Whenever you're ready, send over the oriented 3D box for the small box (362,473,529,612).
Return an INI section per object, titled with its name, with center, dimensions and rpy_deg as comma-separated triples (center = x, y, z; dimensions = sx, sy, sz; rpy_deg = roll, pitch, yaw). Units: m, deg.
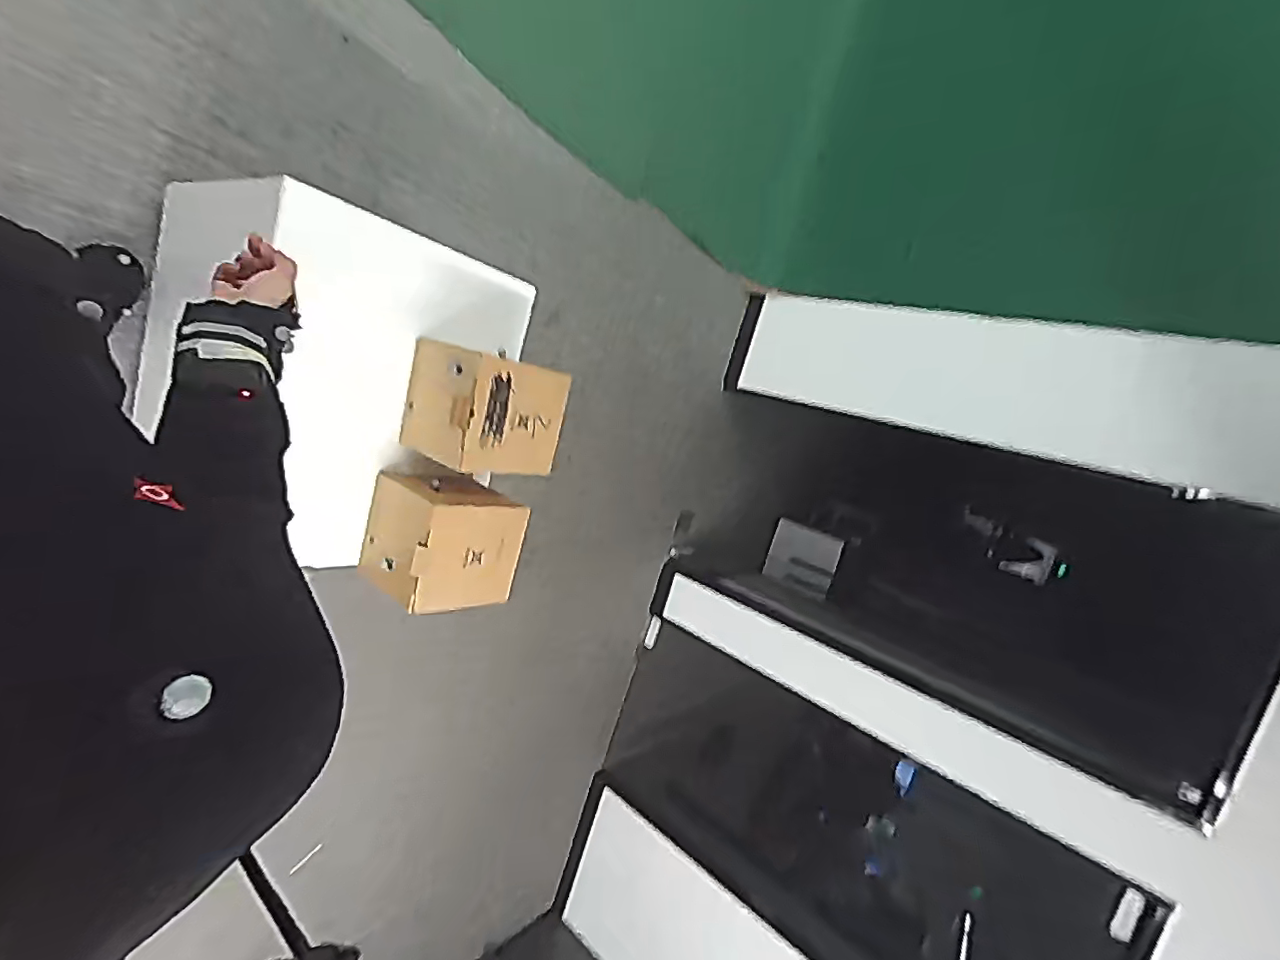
[small box]
center = -0.314, 0.091, 0.867
dimensions = 0.179, 0.176, 0.168
rpy_deg = 5, 104, -54
